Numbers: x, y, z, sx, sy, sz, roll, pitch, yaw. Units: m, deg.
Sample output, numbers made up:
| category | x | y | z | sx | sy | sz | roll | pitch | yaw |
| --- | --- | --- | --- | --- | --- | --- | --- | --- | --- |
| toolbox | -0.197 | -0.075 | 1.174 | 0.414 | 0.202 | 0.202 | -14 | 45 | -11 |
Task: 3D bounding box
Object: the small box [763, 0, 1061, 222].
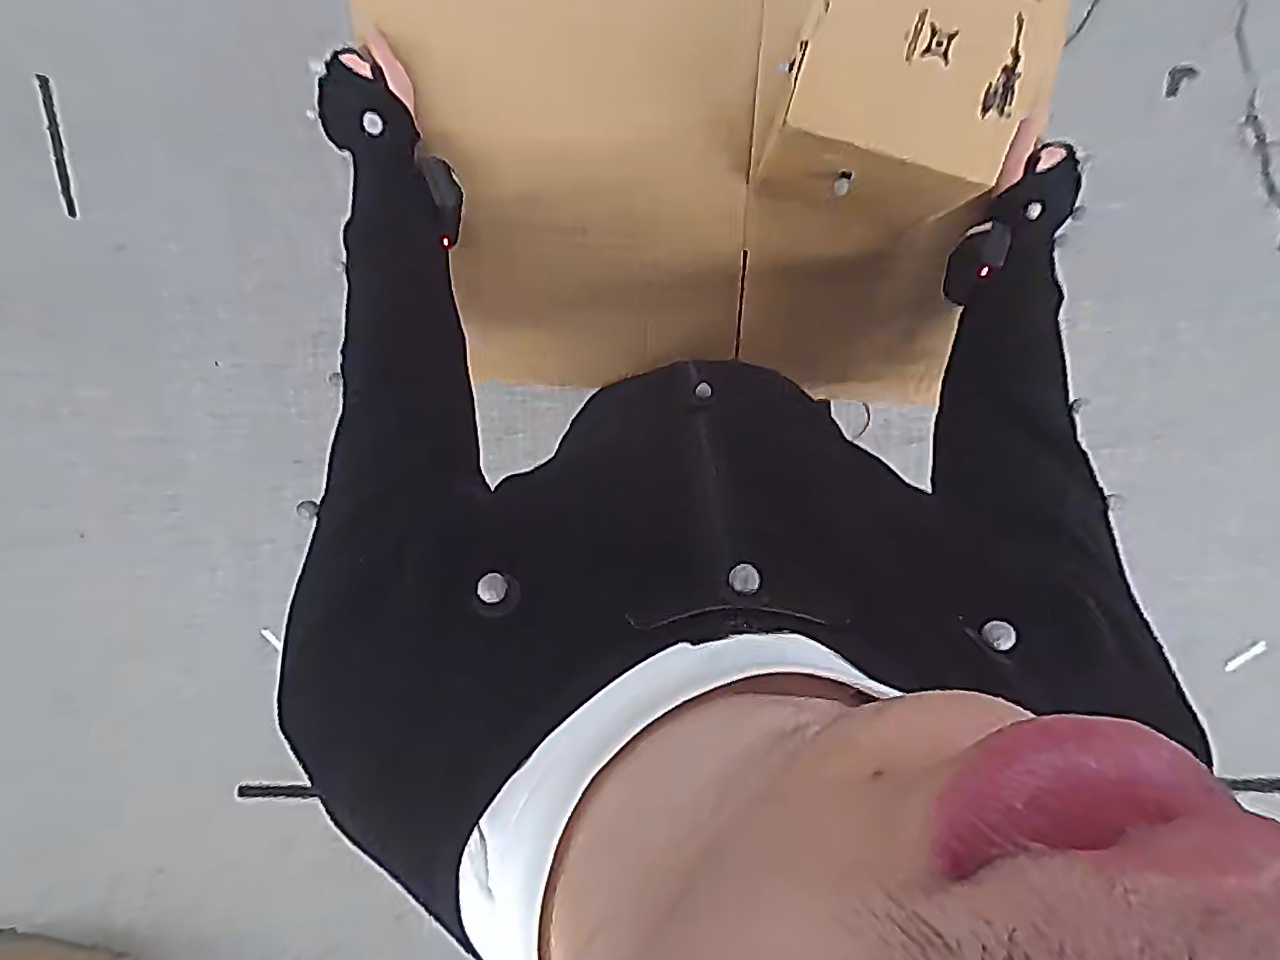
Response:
| category | x | y | z | sx | sy | sz | roll | pitch | yaw |
| --- | --- | --- | --- | --- | --- | --- | --- | --- | --- |
| small box | 0.224 | -0.356 | 0.489 | 0.179 | 0.176 | 0.168 | 17 | 103 | 1 |
